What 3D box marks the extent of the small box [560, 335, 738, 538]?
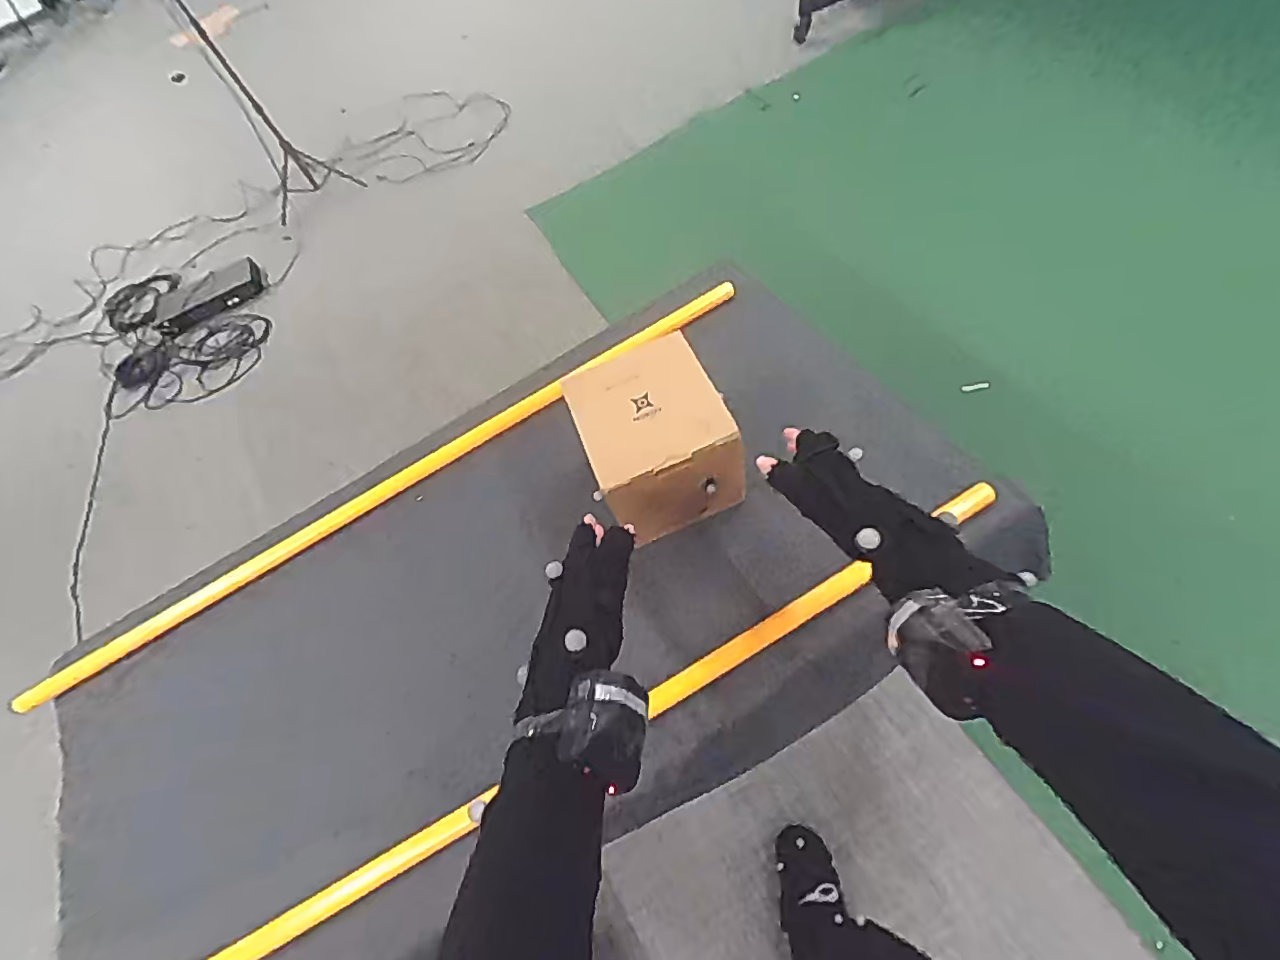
[{"bbox_3d":[0.018,-0.045,0.695,0.168,0.176,0.179,-23,57,-2],"label":"small box"}]
